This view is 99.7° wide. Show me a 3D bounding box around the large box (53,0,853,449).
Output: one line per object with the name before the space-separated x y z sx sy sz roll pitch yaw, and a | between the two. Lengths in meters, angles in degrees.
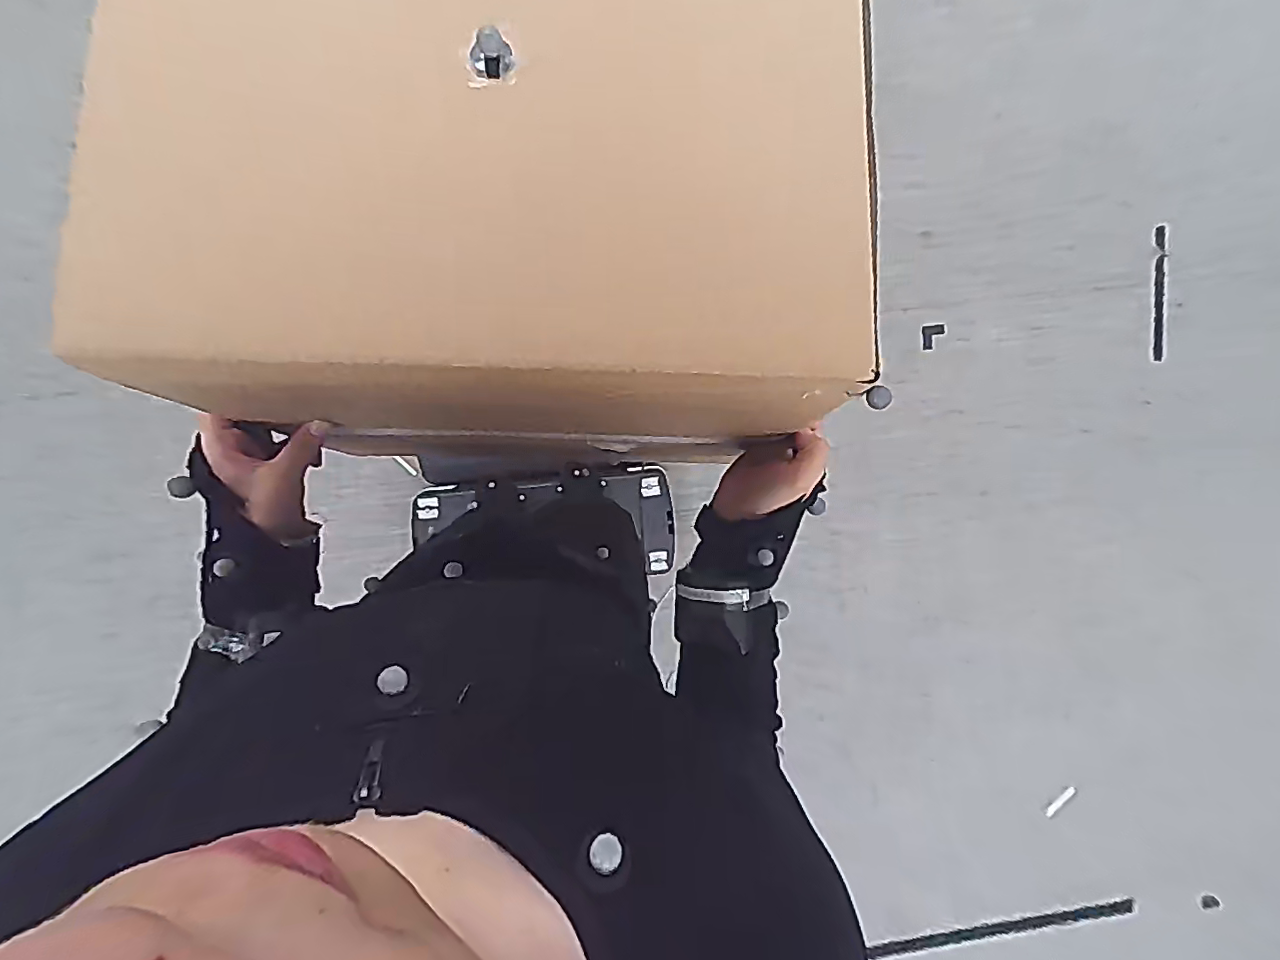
large box | -0.097 -0.198 0.428 0.408 0.320 0.320 0 86 -2

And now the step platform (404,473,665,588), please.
step platform | -0.272 0.134 1.469 0.684 0.204 0.286 -1 95 -3
